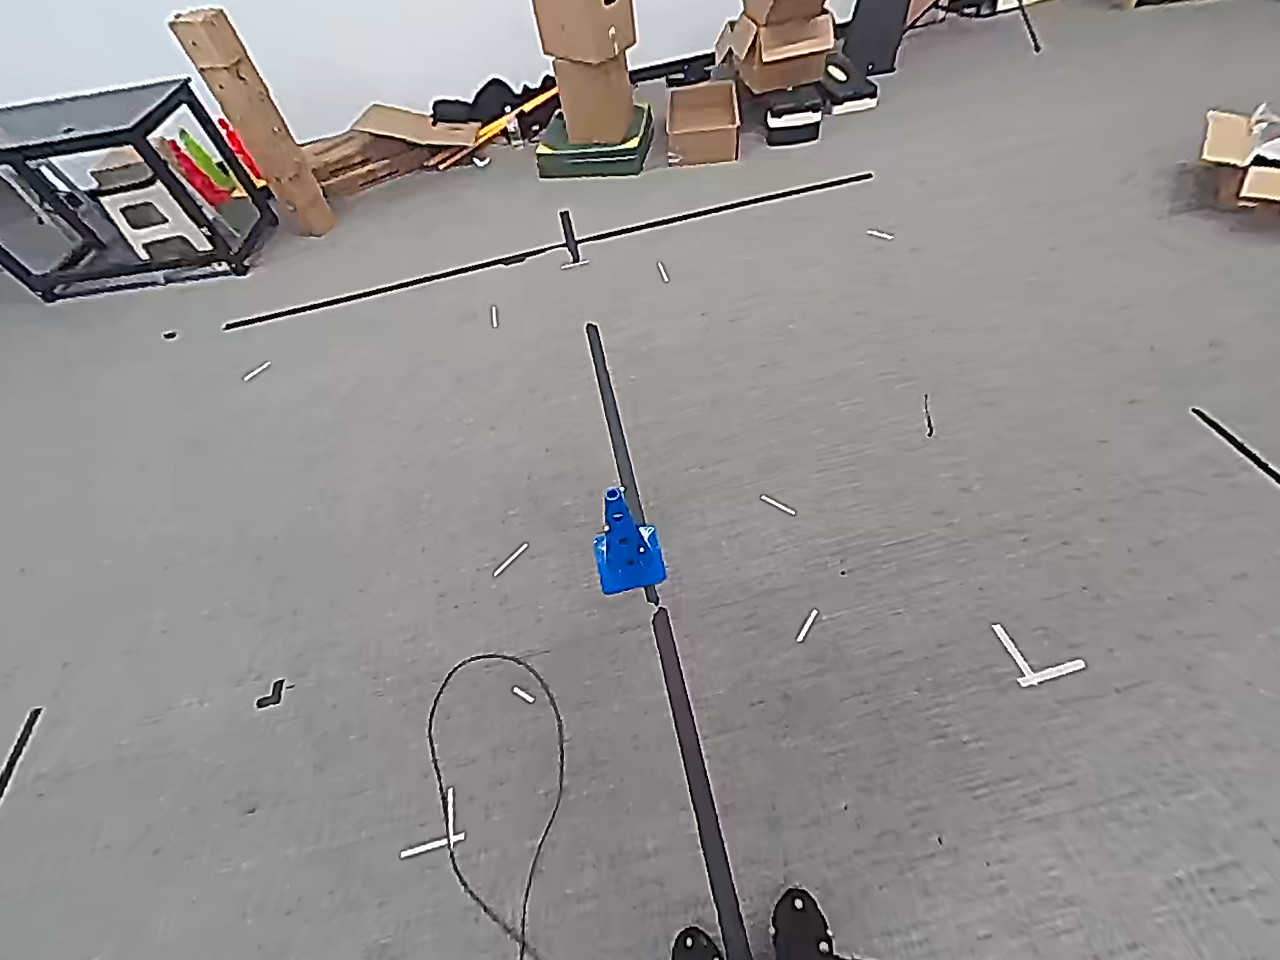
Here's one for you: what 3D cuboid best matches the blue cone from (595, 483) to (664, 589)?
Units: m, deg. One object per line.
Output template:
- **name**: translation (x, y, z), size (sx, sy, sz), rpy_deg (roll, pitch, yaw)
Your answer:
- **blue cone**: translation (-0.053, 0.136, 1.498), size (0.193, 0.380, 0.192), rpy_deg (-15, 54, -2)
